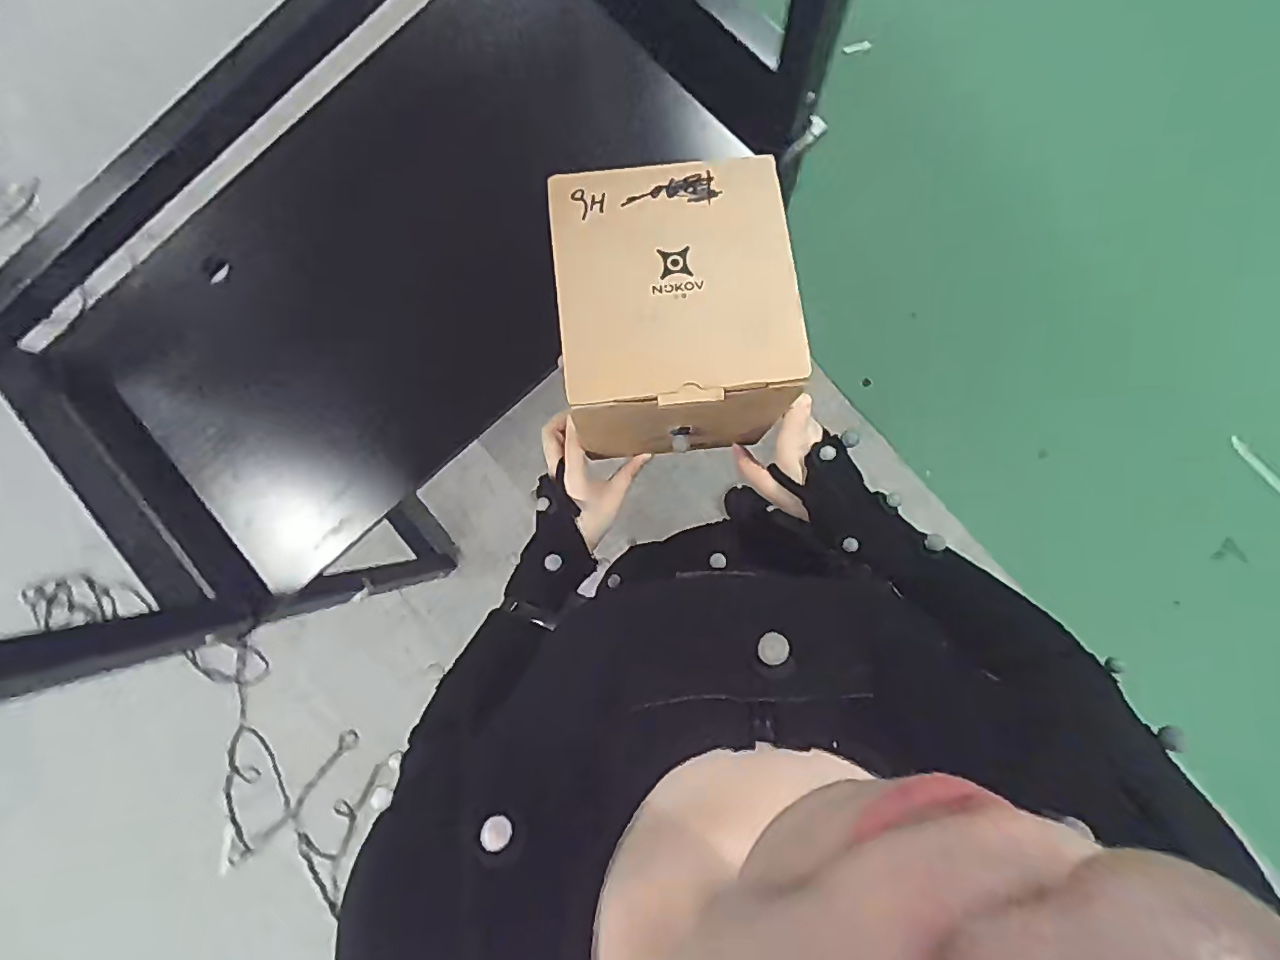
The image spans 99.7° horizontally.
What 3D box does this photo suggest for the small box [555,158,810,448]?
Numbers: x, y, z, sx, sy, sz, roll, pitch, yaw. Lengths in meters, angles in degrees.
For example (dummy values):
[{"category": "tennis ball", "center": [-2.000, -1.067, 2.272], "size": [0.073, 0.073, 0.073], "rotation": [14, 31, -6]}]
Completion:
[{"category": "small box", "center": [0.026, -0.126, 0.451], "size": [0.168, 0.176, 0.179], "rotation": [-5, 82, -2]}]
